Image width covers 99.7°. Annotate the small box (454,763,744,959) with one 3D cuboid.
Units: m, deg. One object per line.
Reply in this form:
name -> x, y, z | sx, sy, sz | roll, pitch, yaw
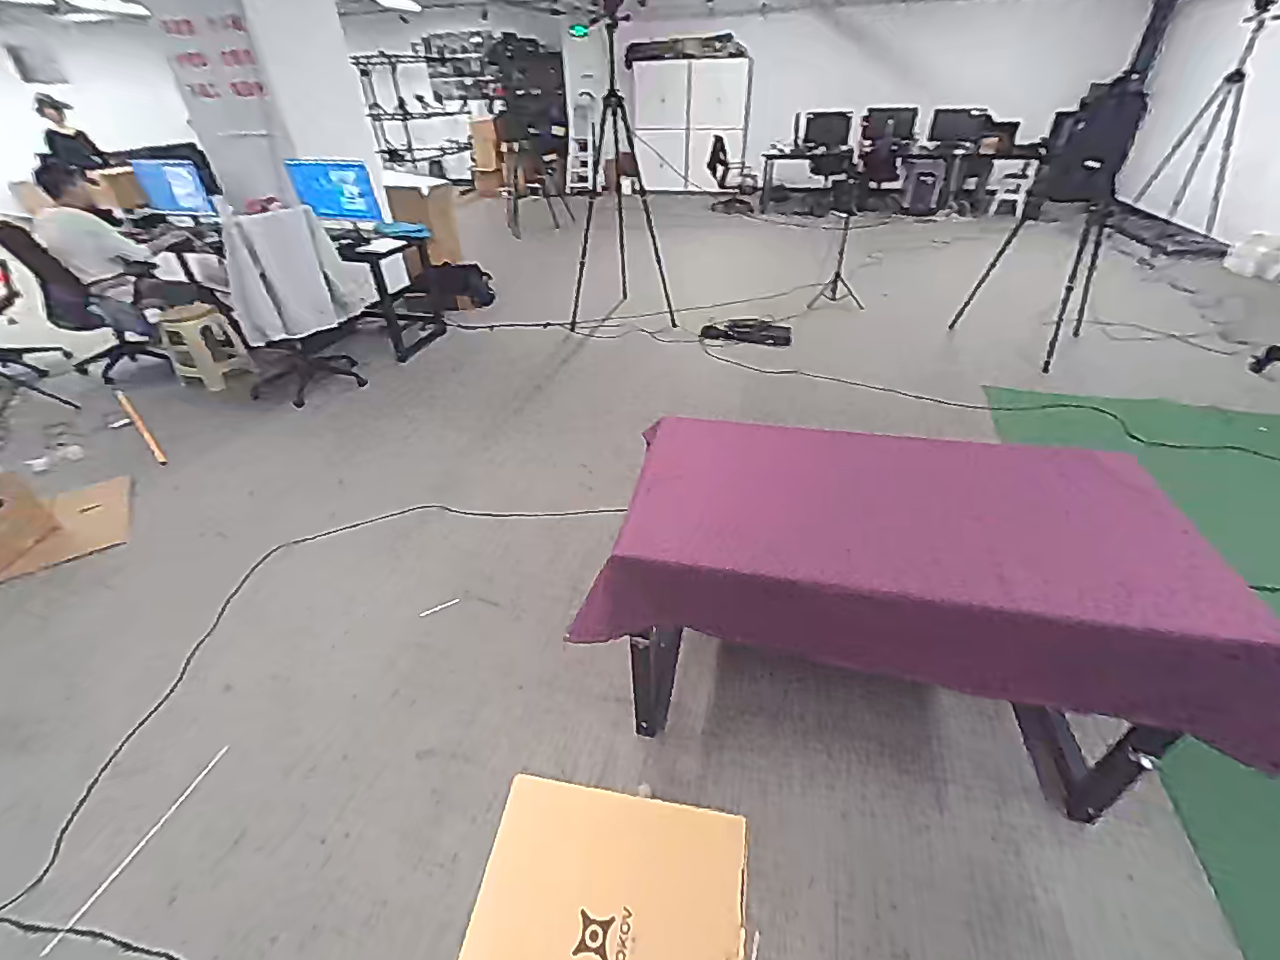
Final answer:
small box -> -0.018, 0.336, 0.401 | 0.179, 0.176, 0.168 | 4, 47, 11
